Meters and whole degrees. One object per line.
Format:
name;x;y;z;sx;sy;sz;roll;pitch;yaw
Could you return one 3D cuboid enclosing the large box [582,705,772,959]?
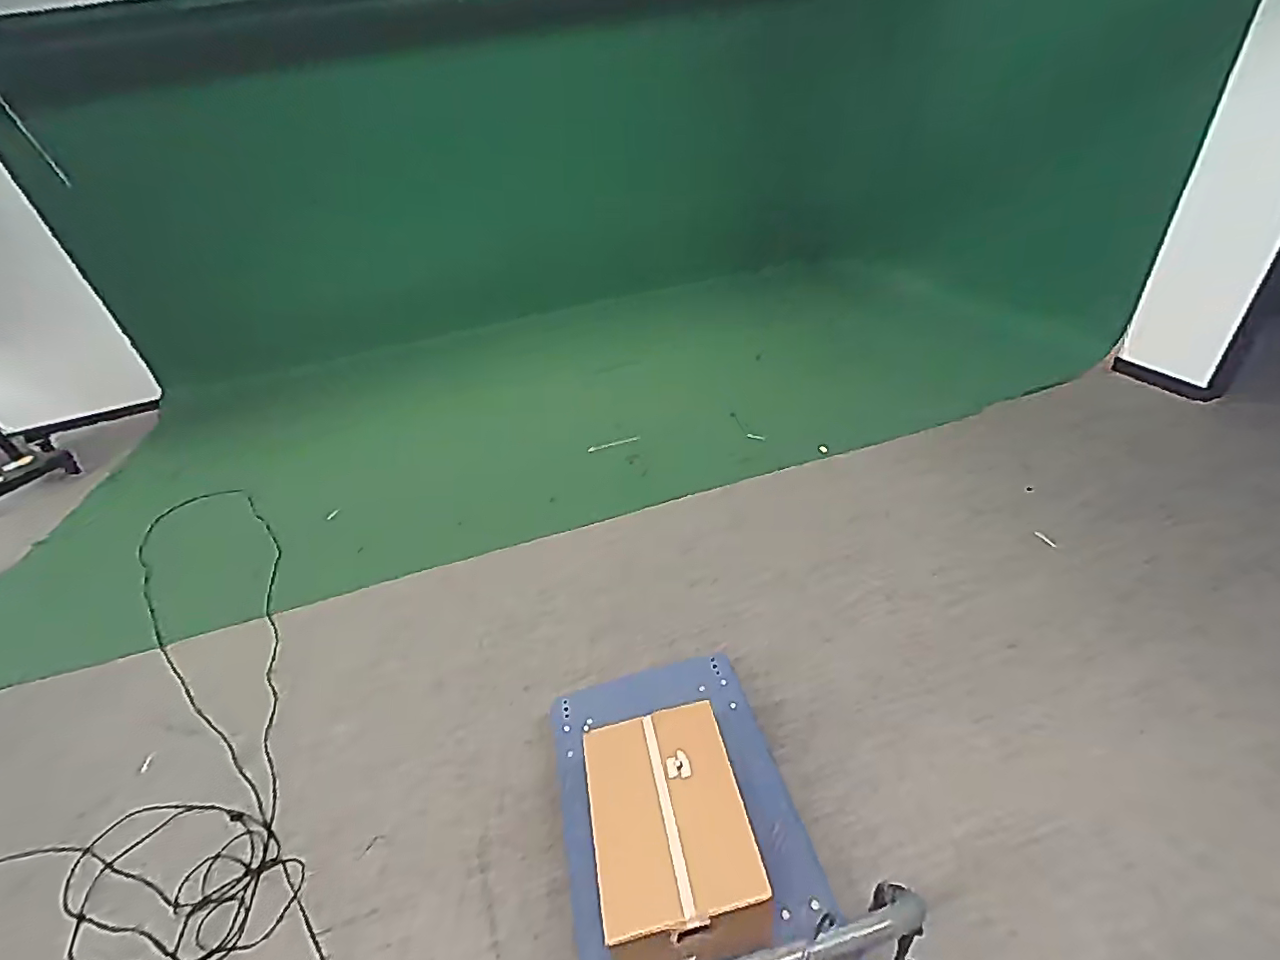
large box;0.072;0.796;1.194;0.320;0.320;0.408;-12;35;-5
